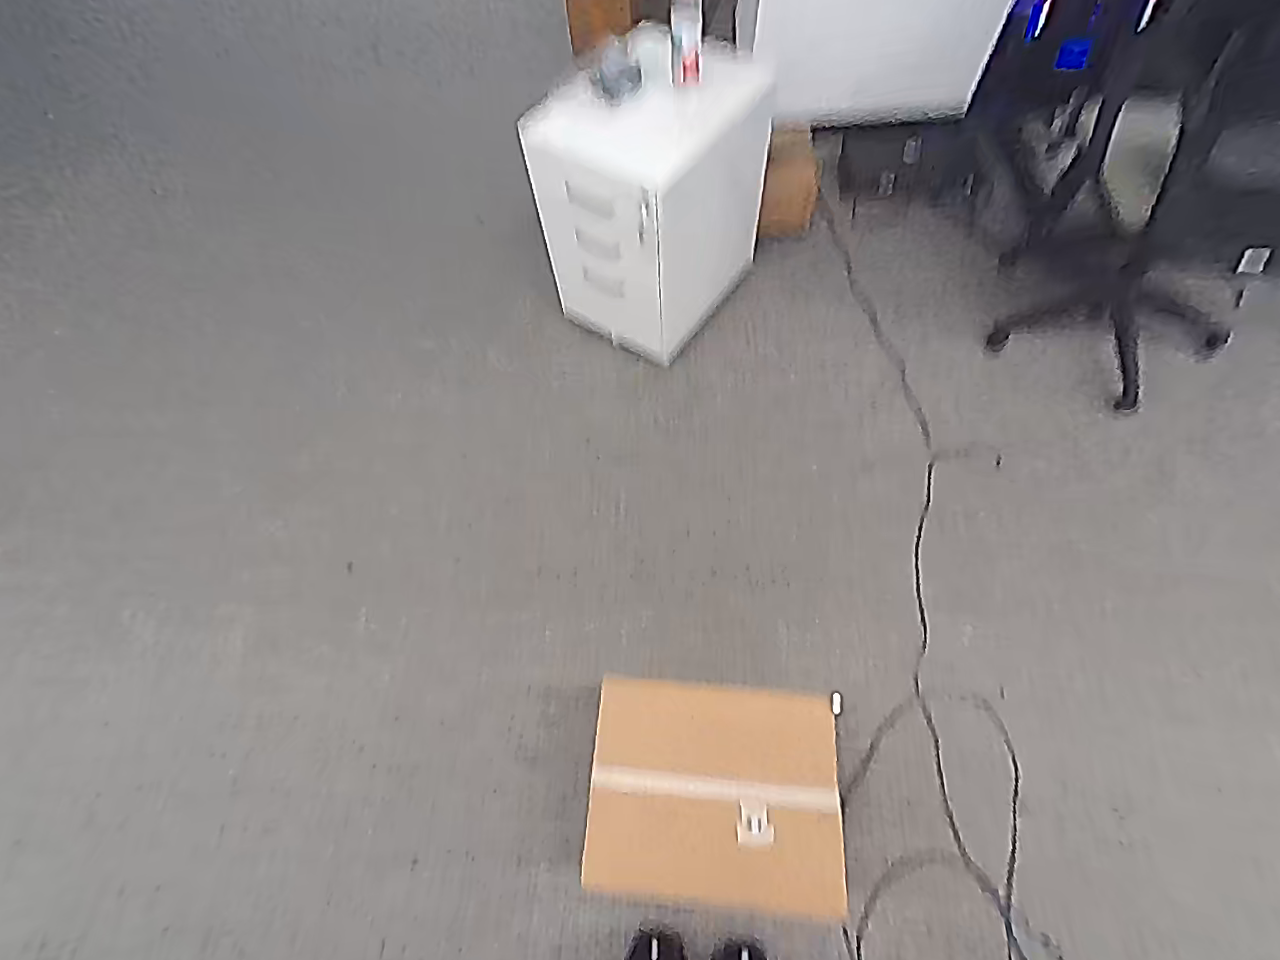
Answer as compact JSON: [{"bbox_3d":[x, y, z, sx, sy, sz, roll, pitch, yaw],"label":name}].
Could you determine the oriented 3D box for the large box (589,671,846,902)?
[{"bbox_3d":[0.133,0.560,1.028,0.408,0.320,0.320,3,64,5],"label":"large box"}]
